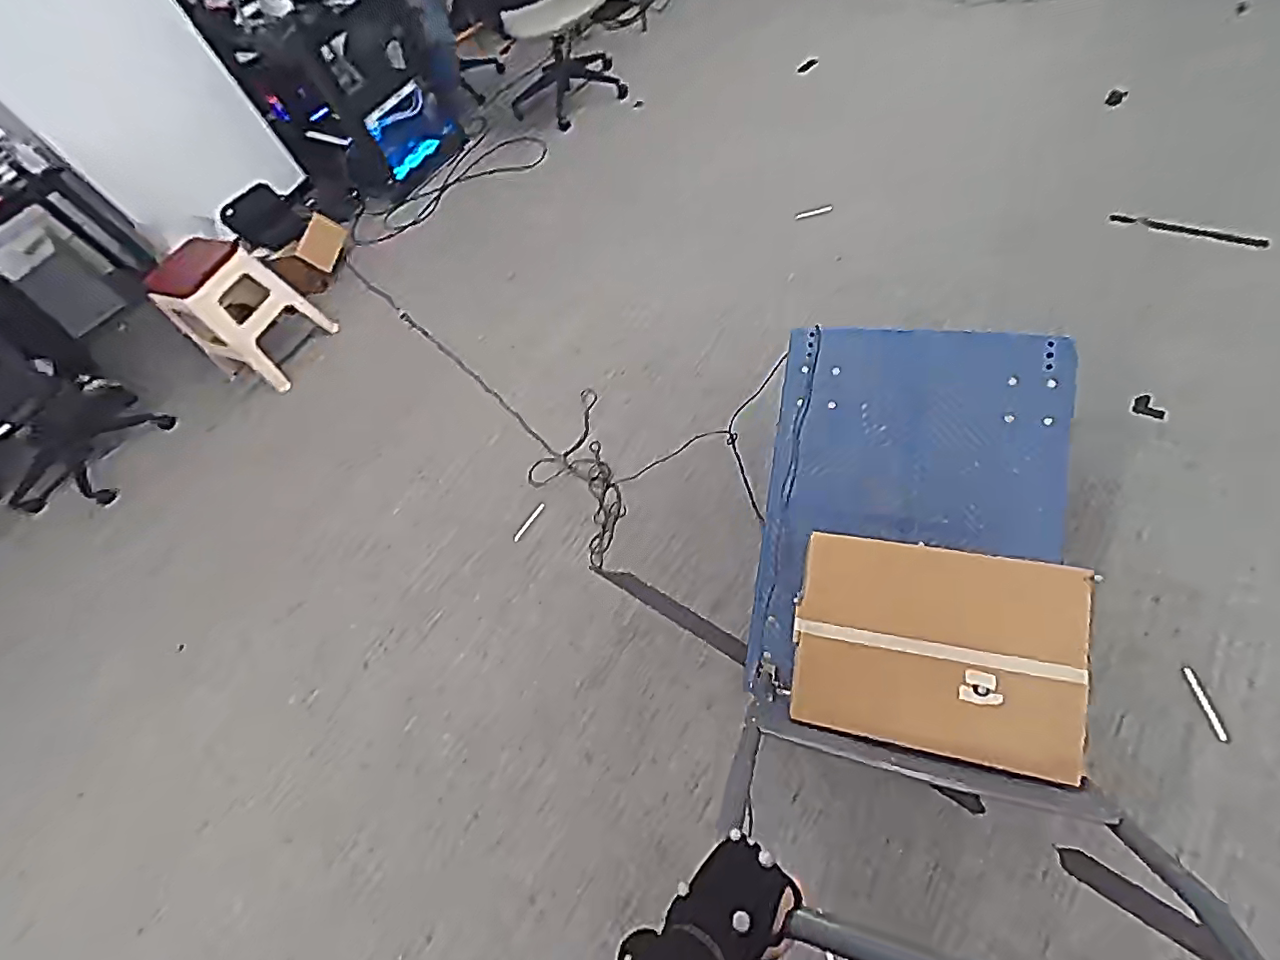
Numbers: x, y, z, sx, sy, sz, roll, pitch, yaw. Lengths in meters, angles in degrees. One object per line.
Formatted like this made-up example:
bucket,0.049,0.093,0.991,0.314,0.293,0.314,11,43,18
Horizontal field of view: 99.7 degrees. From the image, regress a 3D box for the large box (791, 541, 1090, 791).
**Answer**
large box,0.492,0.295,0.976,0.408,0.320,0.320,7,84,17
